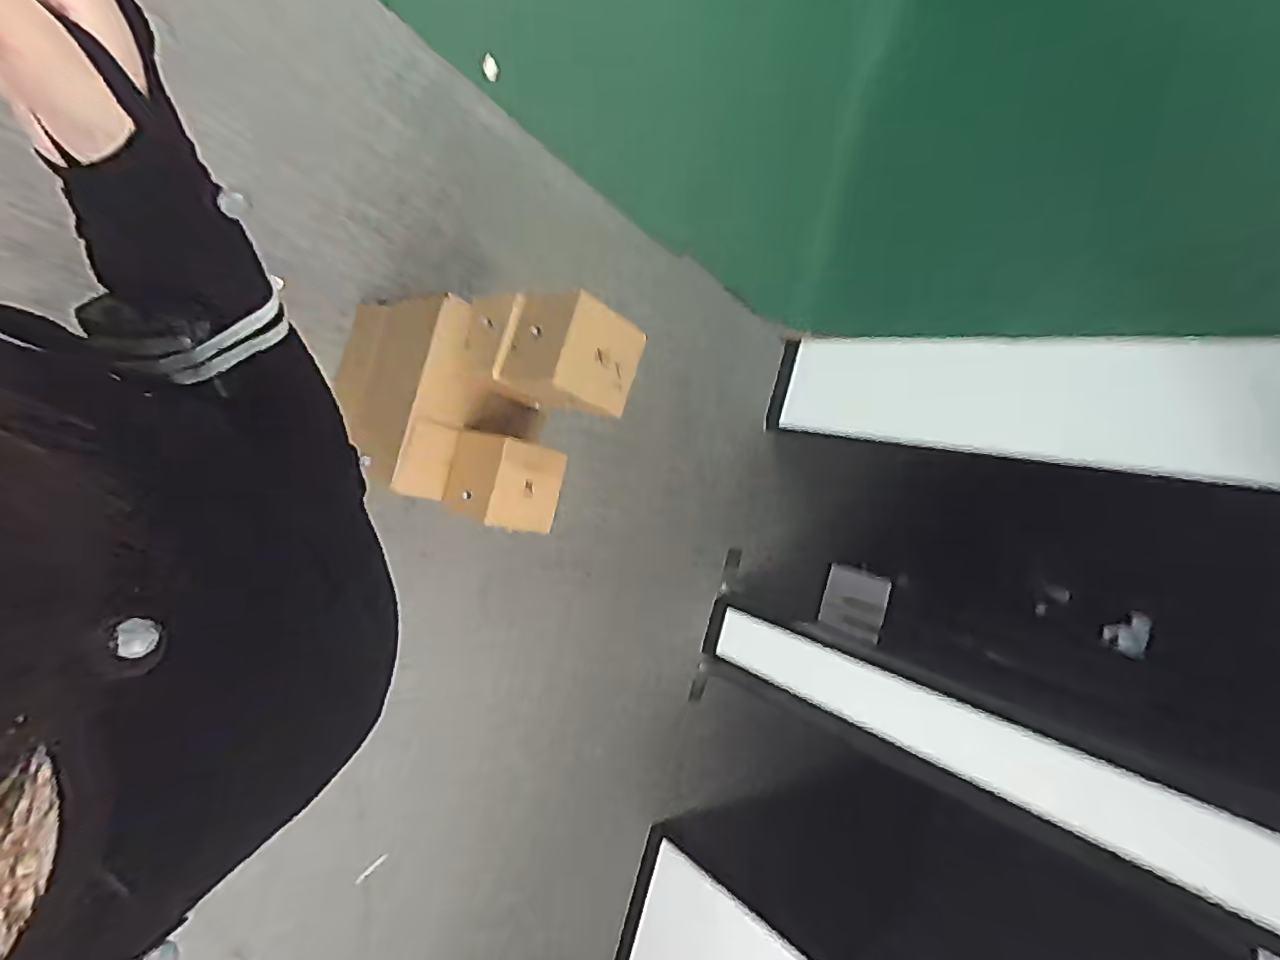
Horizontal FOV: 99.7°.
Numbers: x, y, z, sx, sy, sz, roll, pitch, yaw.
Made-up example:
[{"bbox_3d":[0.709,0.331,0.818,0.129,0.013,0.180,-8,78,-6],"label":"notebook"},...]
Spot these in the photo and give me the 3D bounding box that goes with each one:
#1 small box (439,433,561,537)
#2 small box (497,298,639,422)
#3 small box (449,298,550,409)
[{"bbox_3d":[-0.301,0.010,1.149,0.168,0.176,0.179,17,86,-49],"label":"small box"},{"bbox_3d":[-0.137,-0.222,1.015,0.179,0.176,0.168,23,85,-48],"label":"small box"},{"bbox_3d":[-0.264,-0.255,1.116,0.179,0.176,0.168,20,87,-48],"label":"small box"}]
